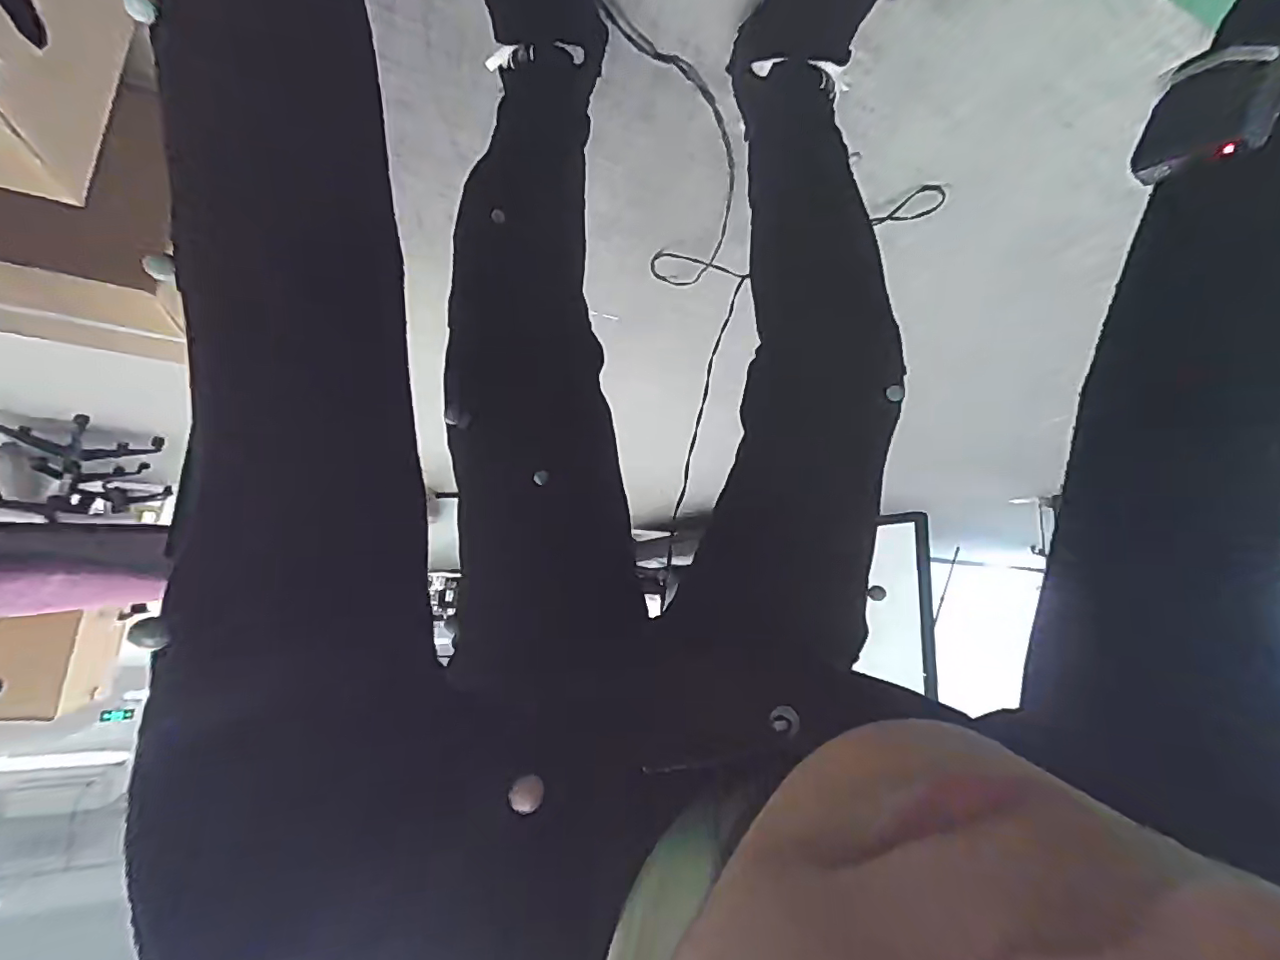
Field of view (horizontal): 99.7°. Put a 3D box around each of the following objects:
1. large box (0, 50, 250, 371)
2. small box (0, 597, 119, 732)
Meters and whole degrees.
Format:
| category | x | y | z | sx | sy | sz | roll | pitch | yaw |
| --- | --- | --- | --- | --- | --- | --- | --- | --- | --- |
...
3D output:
| category | x | y | z | sx | sy | sz | roll | pitch | yaw |
| --- | --- | --- | --- | --- | --- | --- | --- | --- | --- |
| large box | -0.903 | -0.403 | 0.834 | 0.408 | 0.320 | 0.320 | 9 | 166 | -23 |
| small box | -0.938 | 0.271 | 0.816 | 0.179 | 0.176 | 0.168 | 10 | 166 | -22 |
